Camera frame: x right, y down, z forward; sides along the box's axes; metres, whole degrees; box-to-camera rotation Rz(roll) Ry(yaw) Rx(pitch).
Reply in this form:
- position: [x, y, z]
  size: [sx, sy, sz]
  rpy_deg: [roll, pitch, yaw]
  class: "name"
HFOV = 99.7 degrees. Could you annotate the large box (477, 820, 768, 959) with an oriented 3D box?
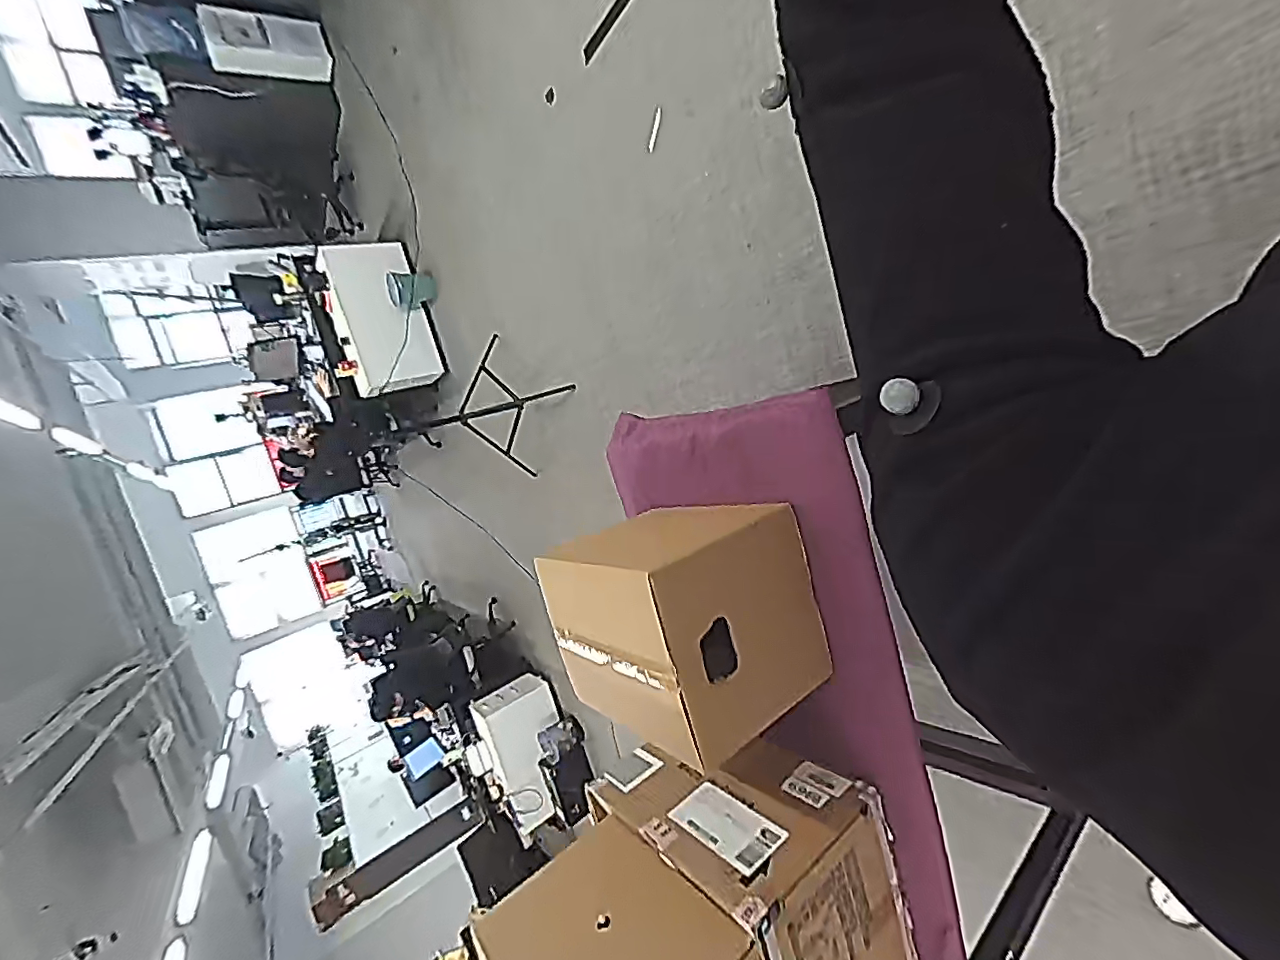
- position: [-0.012, 0.848, 0.862]
  size: [0.408, 0.320, 0.320]
  rpy_deg: [-8, 102, 56]
  class: "large box"
